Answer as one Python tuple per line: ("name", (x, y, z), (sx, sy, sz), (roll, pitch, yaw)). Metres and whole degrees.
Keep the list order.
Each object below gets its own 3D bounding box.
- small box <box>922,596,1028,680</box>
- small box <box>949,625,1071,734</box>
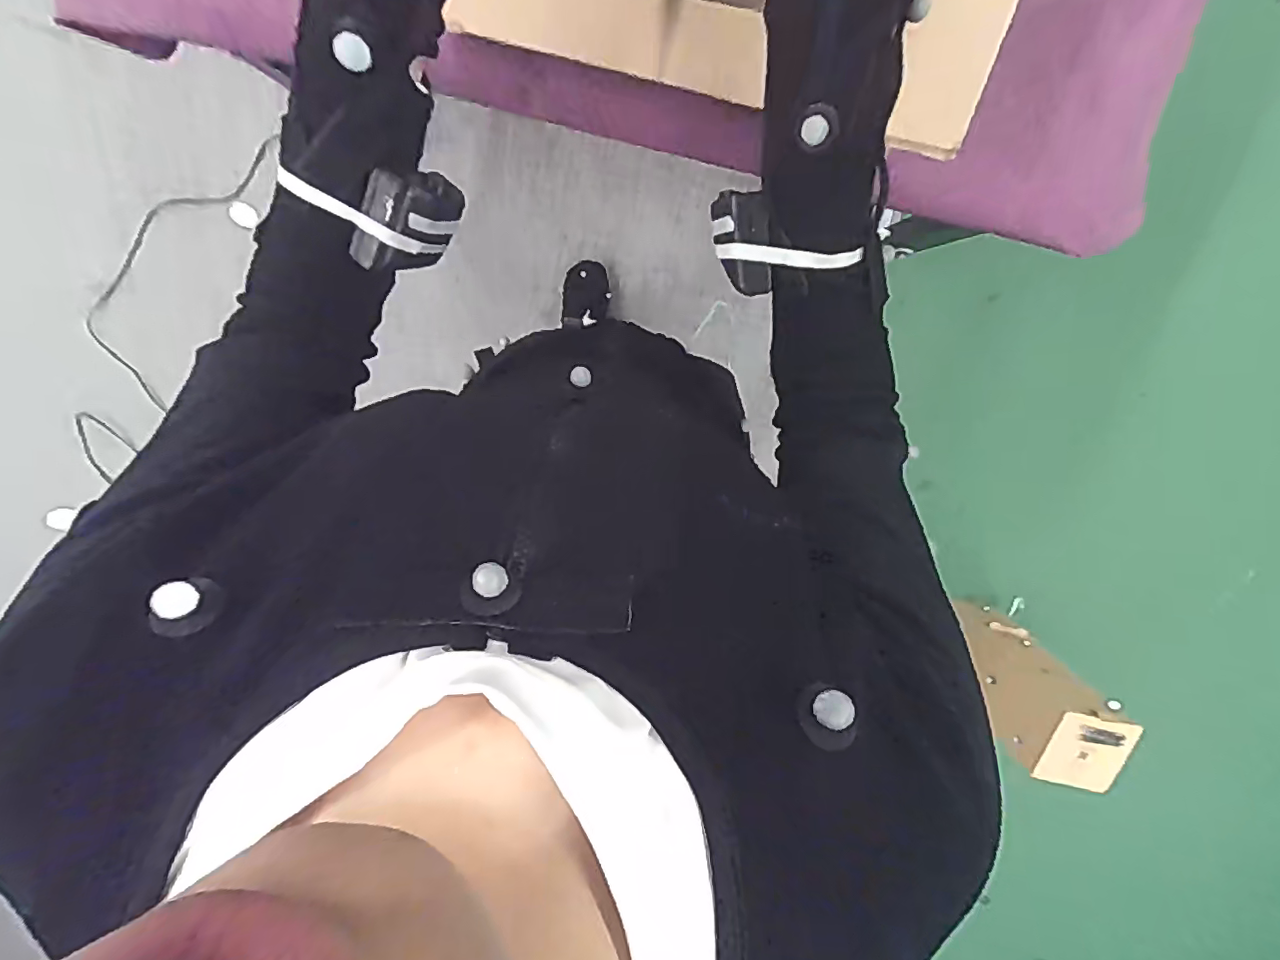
("small box", (0.931, 0.455, 1.524), (0.168, 0.176, 0.179), (13, 106, -3))
("small box", (0.920, 0.500, 1.368), (0.168, 0.176, 0.179), (14, 106, -2))
